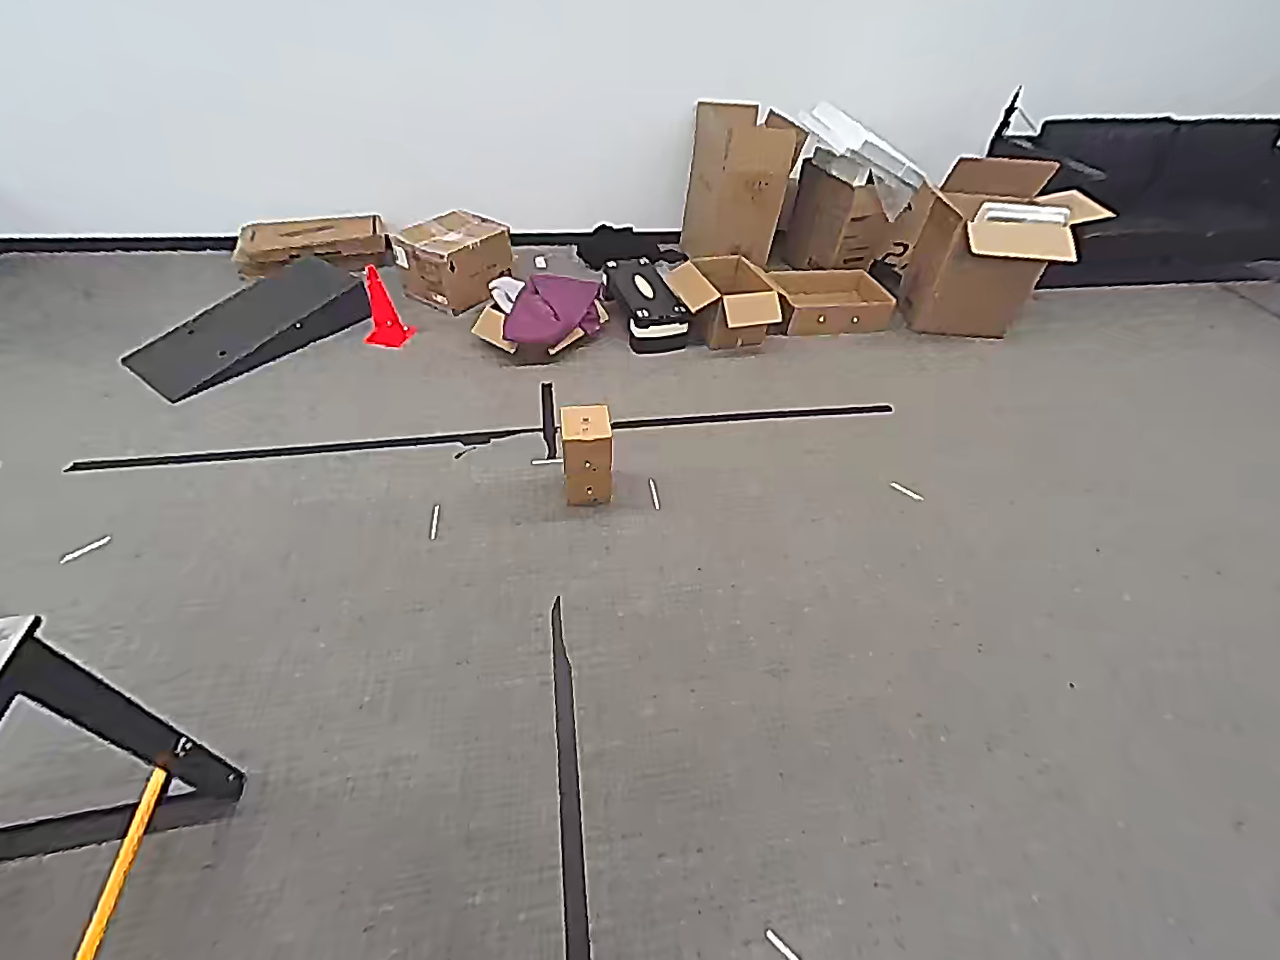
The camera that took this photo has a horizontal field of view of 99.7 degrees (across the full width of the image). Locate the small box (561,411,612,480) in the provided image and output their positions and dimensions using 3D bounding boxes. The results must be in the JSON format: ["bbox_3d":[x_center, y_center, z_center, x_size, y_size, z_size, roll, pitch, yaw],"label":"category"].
[{"bbox_3d":[-0.192,-0.121,1.898,0.168,0.176,0.179,-4,46,-8],"label":"small box"}]

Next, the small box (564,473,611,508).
[{"bbox_3d":[-0.198,-0.009,2.021,0.168,0.176,0.179,-5,46,-9],"label":"small box"}]
